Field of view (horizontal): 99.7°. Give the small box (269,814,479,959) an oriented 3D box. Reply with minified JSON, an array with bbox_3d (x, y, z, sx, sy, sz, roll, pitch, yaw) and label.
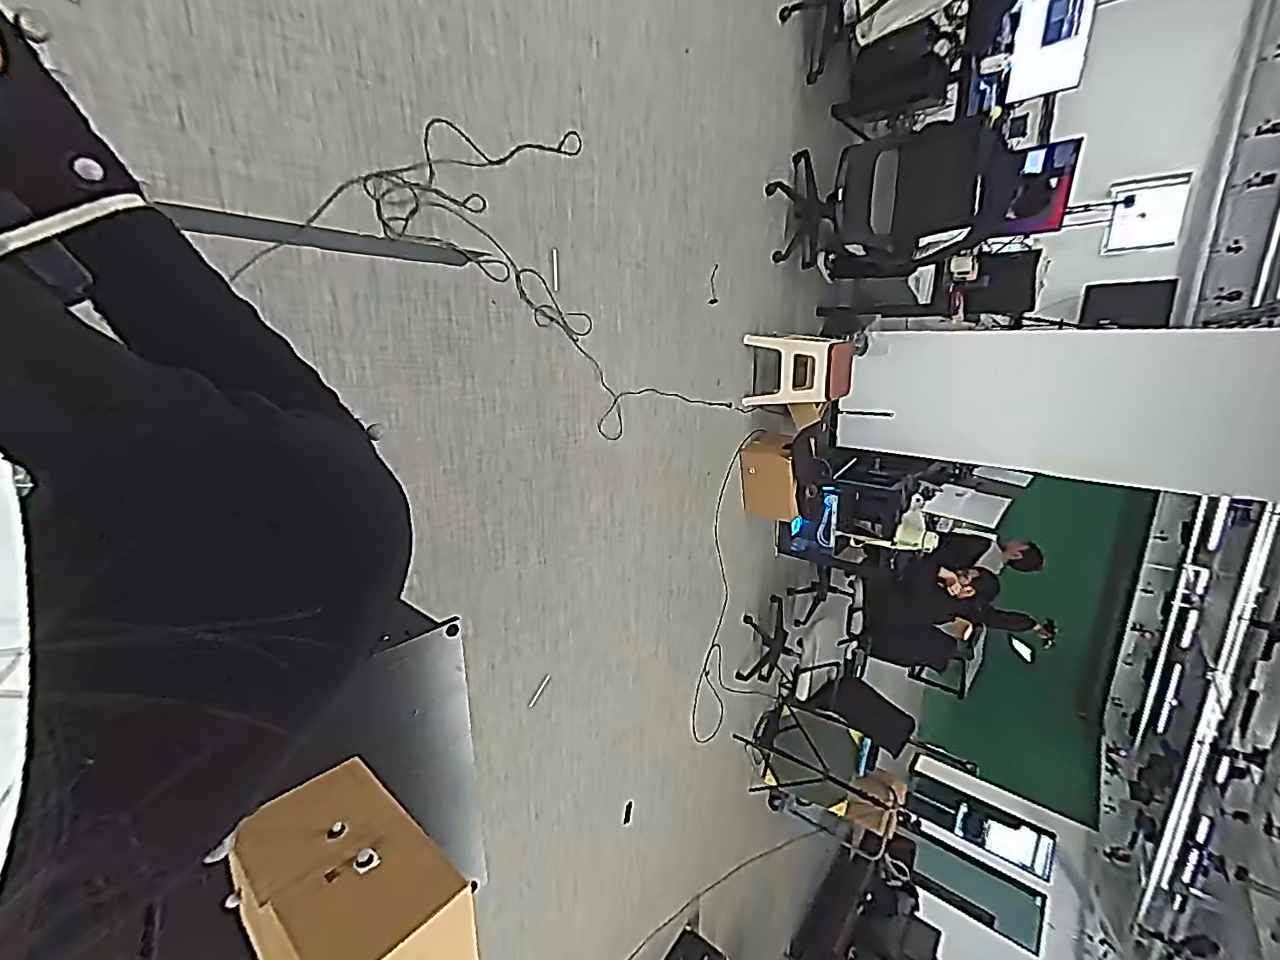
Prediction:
[{"bbox_3d":[-0.316,0.559,0.653,0.168,0.176,0.179,-18,111,-49],"label":"small box"}]

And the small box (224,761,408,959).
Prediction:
[{"bbox_3d":[-0.442,0.535,0.753,0.179,0.176,0.168,-15,110,-47],"label":"small box"}]
